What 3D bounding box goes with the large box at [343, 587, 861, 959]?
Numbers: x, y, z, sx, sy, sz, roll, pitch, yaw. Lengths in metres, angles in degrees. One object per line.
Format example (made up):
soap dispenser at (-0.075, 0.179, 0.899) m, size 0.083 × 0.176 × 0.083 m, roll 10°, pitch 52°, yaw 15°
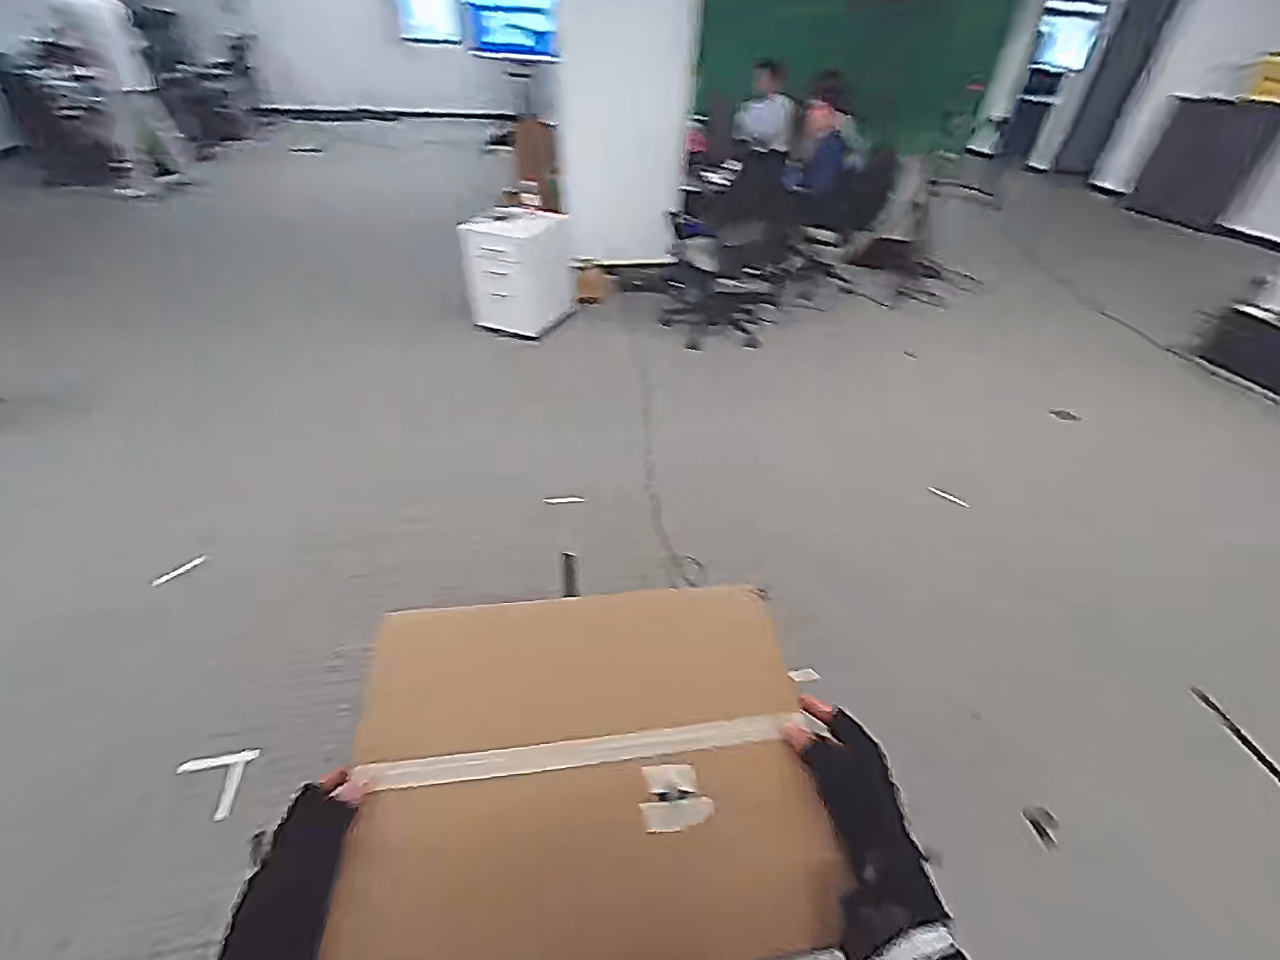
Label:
large box at (-0.050, 0.347, 0.607) m, size 0.408 × 0.320 × 0.320 m, roll -2°, pitch 48°, yaw -9°
